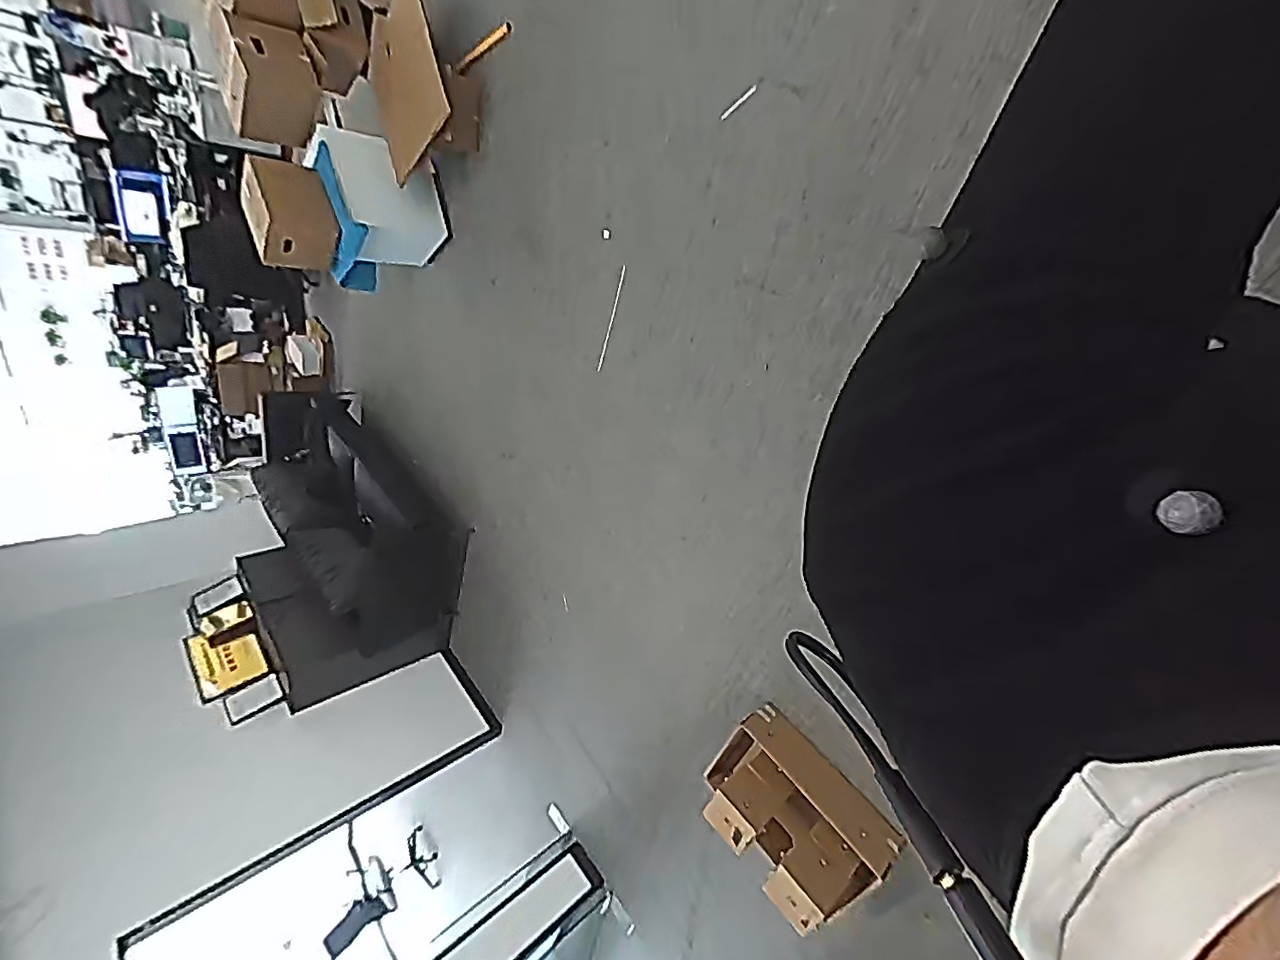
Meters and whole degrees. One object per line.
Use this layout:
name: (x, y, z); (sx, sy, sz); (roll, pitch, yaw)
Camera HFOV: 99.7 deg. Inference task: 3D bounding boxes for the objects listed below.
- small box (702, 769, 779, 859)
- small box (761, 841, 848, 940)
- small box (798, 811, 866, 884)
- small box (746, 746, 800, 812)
small box: (0.355, 1.164, 1.897); (0.179, 0.176, 0.168); (39, 125, 32)
small box: (0.534, 1.320, 1.754); (0.179, 0.176, 0.168); (41, 128, 32)
small box: (0.651, 1.295, 1.868); (0.168, 0.176, 0.179); (42, 128, 31)
small box: (0.470, 1.134, 2.012); (0.168, 0.176, 0.179); (43, 128, 30)
